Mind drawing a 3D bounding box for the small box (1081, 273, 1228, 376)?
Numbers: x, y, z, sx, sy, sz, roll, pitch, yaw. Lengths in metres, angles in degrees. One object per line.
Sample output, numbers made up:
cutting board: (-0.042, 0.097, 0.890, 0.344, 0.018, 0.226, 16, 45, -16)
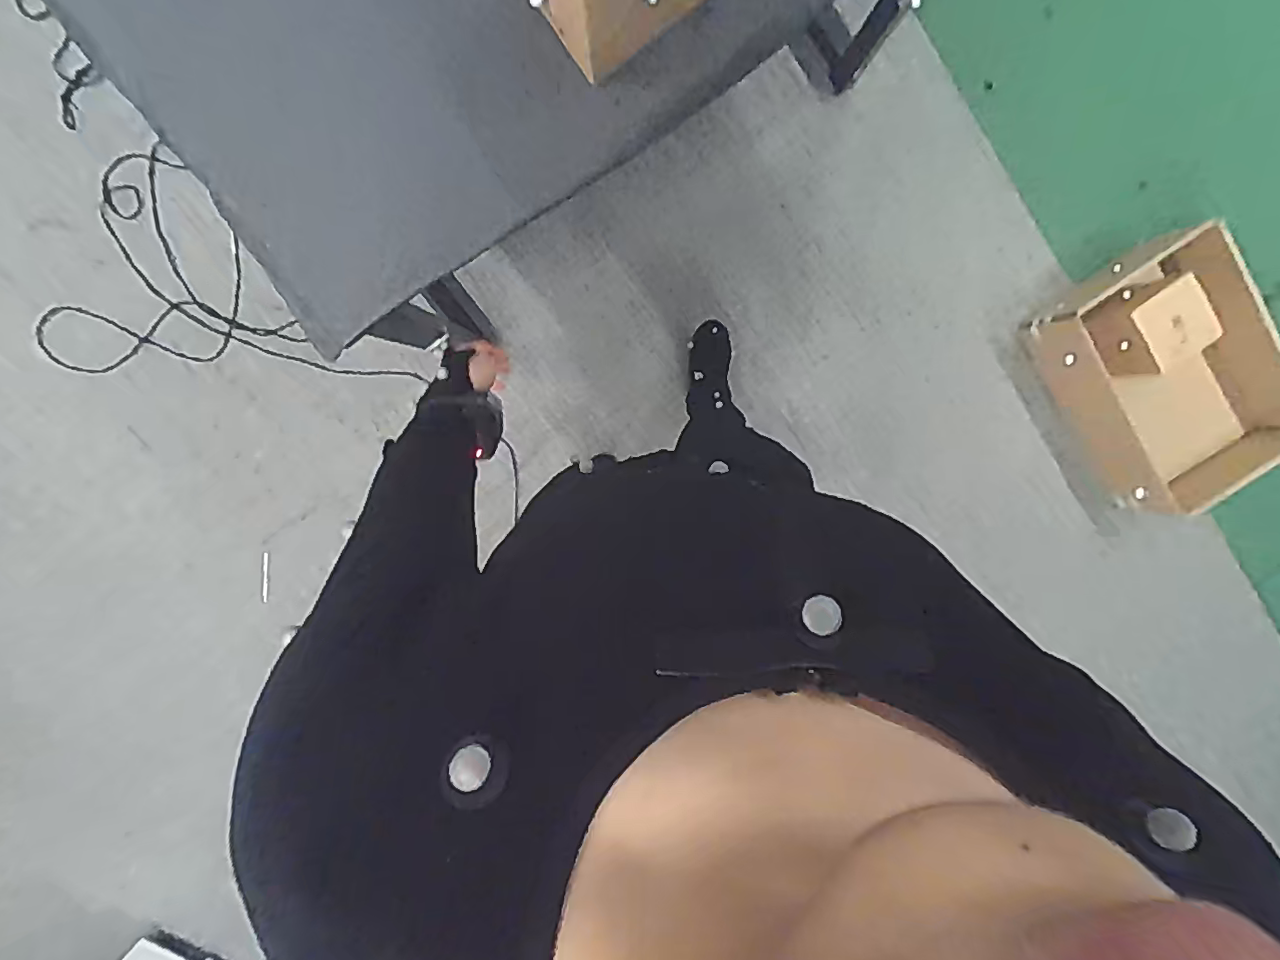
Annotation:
small box: (1.238, -0.367, 1.316, 0.168, 0.176, 0.179, -35, 99, 4)

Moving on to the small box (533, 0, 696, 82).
small box: (-0.034, -0.575, 0.556, 0.179, 0.176, 0.168, -36, 96, 4)
